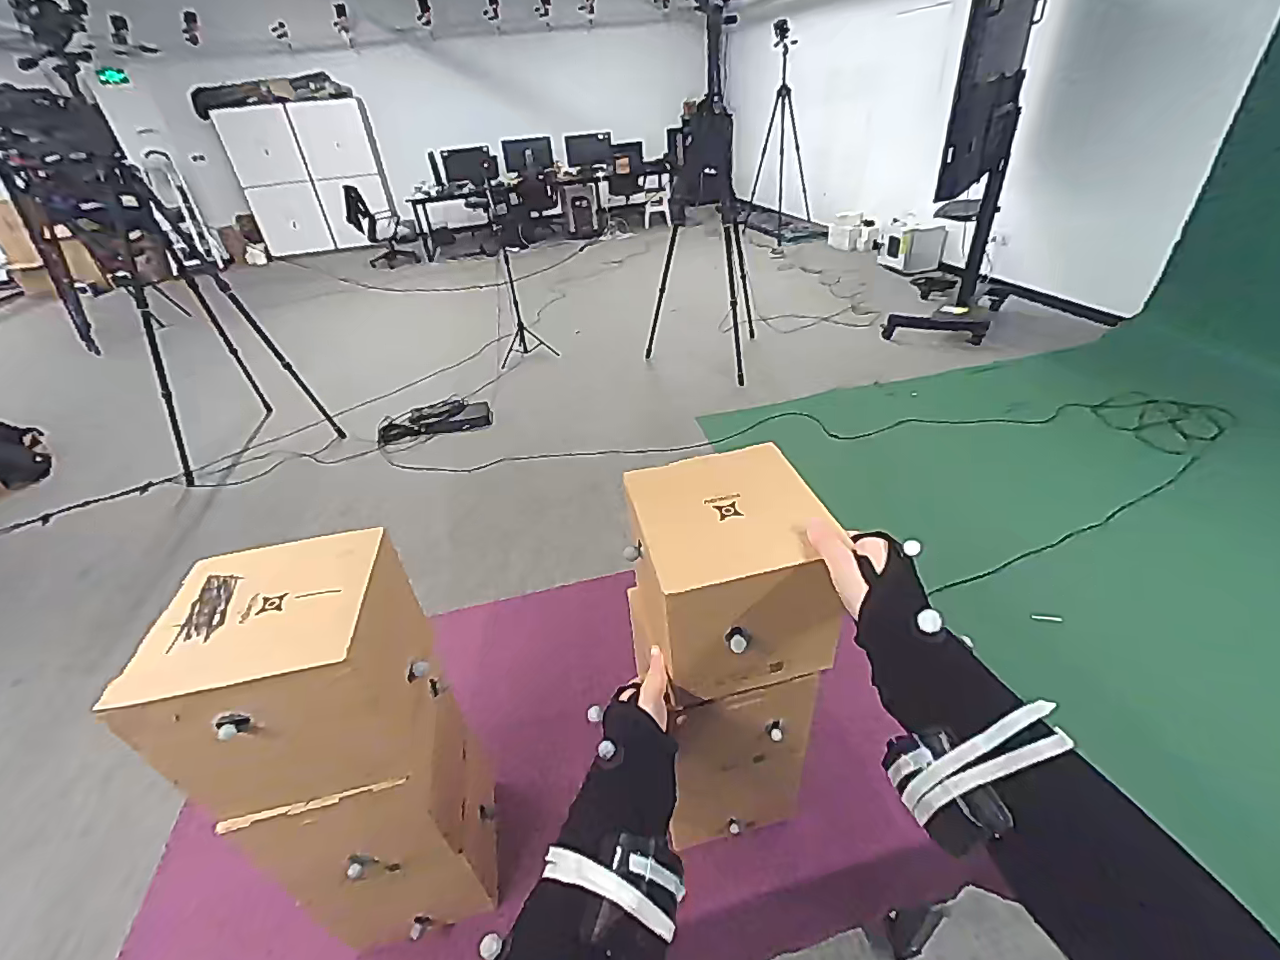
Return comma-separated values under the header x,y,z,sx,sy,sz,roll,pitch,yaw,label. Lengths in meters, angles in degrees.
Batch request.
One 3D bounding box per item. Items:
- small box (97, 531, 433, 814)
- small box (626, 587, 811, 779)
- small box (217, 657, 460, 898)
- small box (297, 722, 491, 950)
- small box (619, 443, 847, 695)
x,y,z,sx,sy,sz,roll,pitch,yaw,label
-0.313,0.175,0.503,0.179,0.176,0.168,-10,35,-8,small box
0.087,0.232,0.655,0.168,0.176,0.179,-11,36,-9,small box
-0.305,0.311,0.596,0.168,0.176,0.179,-12,36,-8,small box
-0.291,0.448,0.687,0.179,0.176,0.168,-12,35,-10,small box
0.084,0.091,0.545,0.168,0.176,0.179,-13,37,-7,small box
